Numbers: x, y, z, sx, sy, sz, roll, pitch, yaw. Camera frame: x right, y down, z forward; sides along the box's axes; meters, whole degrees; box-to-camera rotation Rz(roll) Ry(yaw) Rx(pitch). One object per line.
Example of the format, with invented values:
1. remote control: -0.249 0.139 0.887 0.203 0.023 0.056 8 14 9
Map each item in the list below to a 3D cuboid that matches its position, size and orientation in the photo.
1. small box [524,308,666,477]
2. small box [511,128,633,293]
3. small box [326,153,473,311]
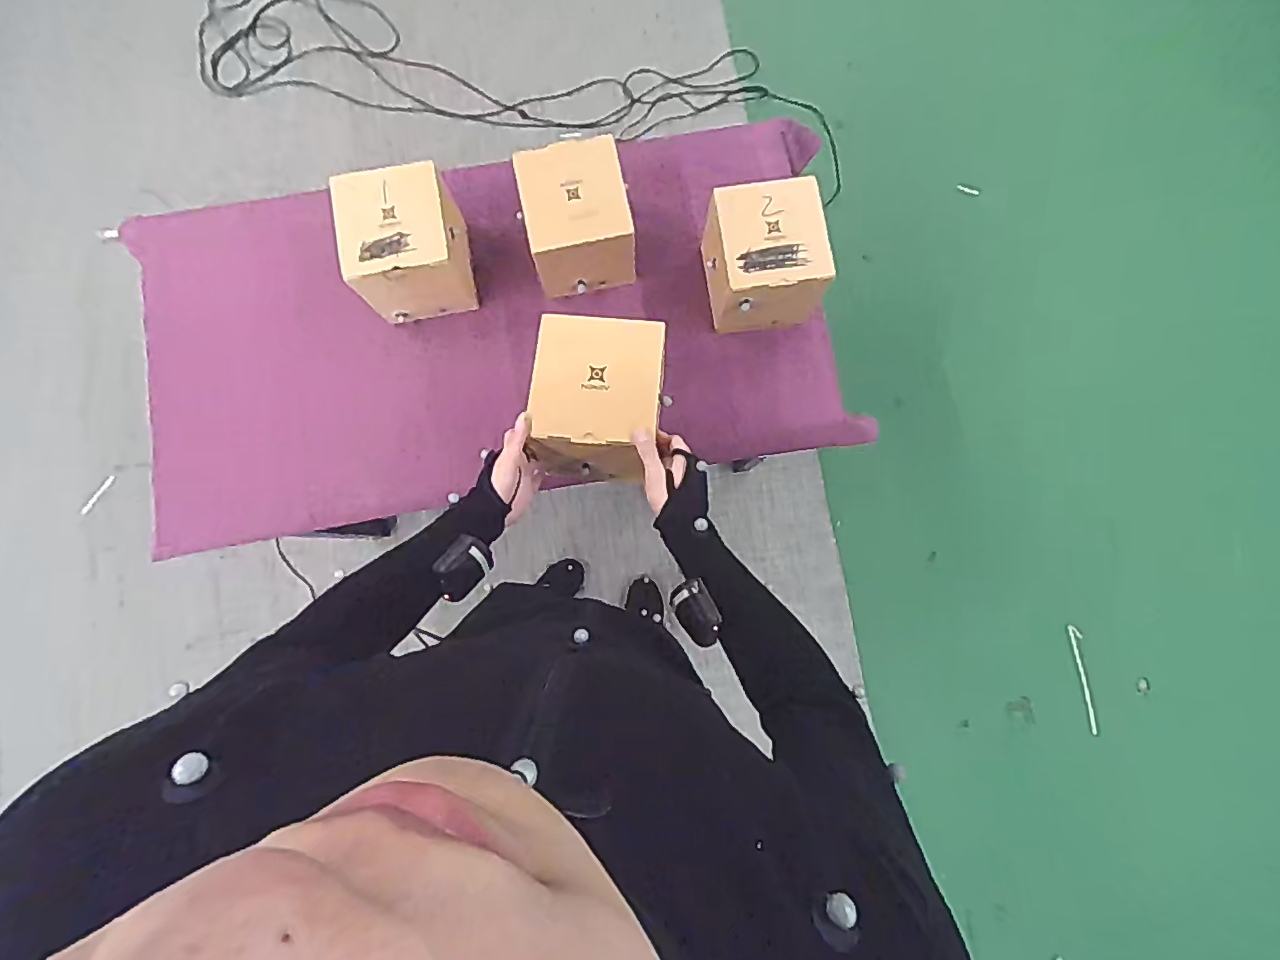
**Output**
1. small box: -0.056 -0.115 0.761 0.168 0.176 0.179 5 76 1
2. small box: -0.110 -0.447 0.918 0.168 0.176 0.179 -12 84 -2
3. small box: -0.390 -0.399 0.904 0.168 0.176 0.179 -11 83 -3
